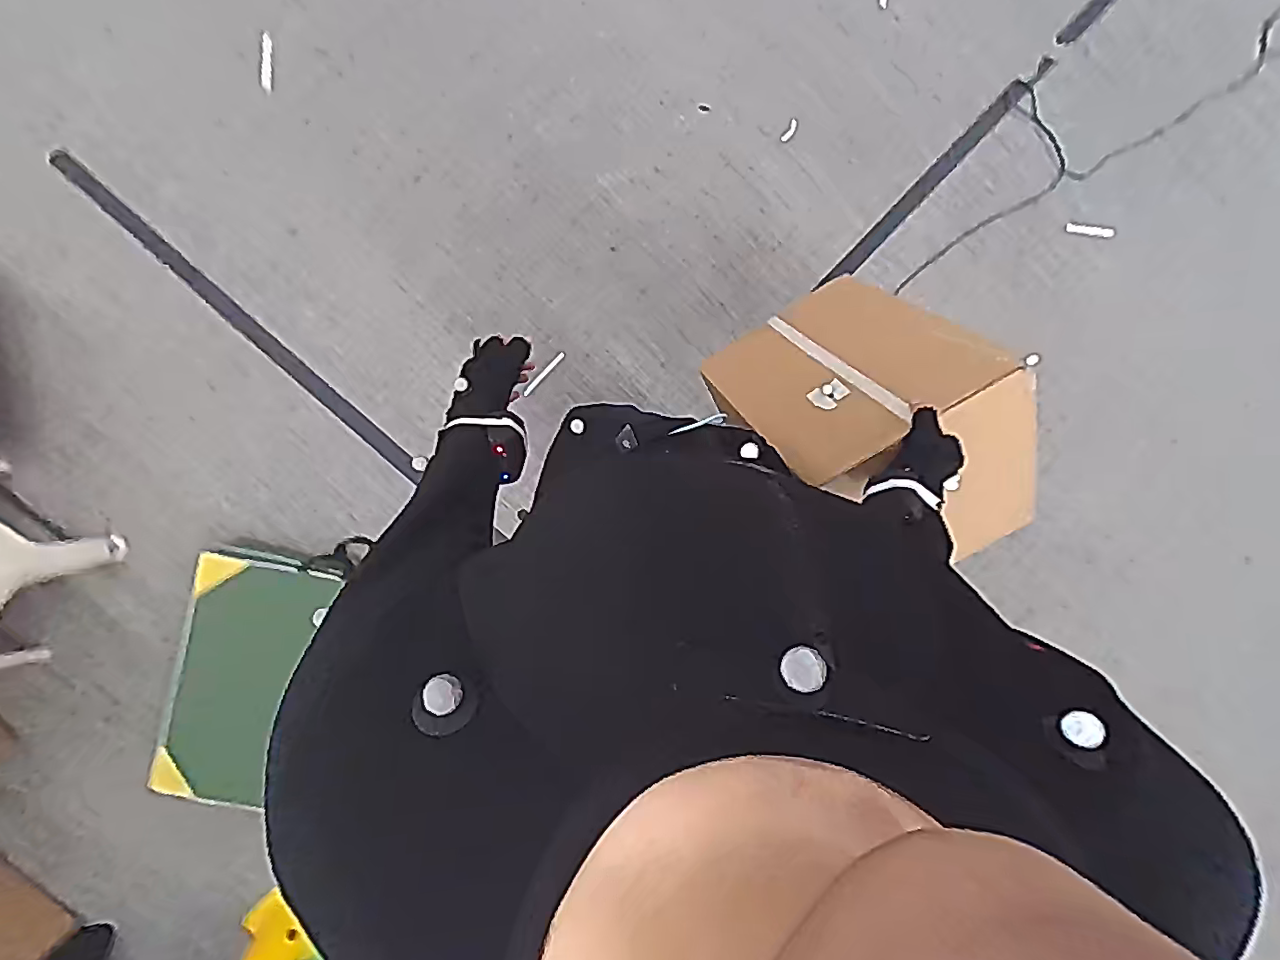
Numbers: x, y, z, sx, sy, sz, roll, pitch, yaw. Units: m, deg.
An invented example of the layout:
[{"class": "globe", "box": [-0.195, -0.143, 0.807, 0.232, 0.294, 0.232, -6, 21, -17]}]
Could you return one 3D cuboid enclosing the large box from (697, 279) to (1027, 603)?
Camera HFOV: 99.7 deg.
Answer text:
[{"class": "large box", "box": [0.352, -0.079, 0.921, 0.320, 0.408, 0.320, -32, 130, 4]}]
